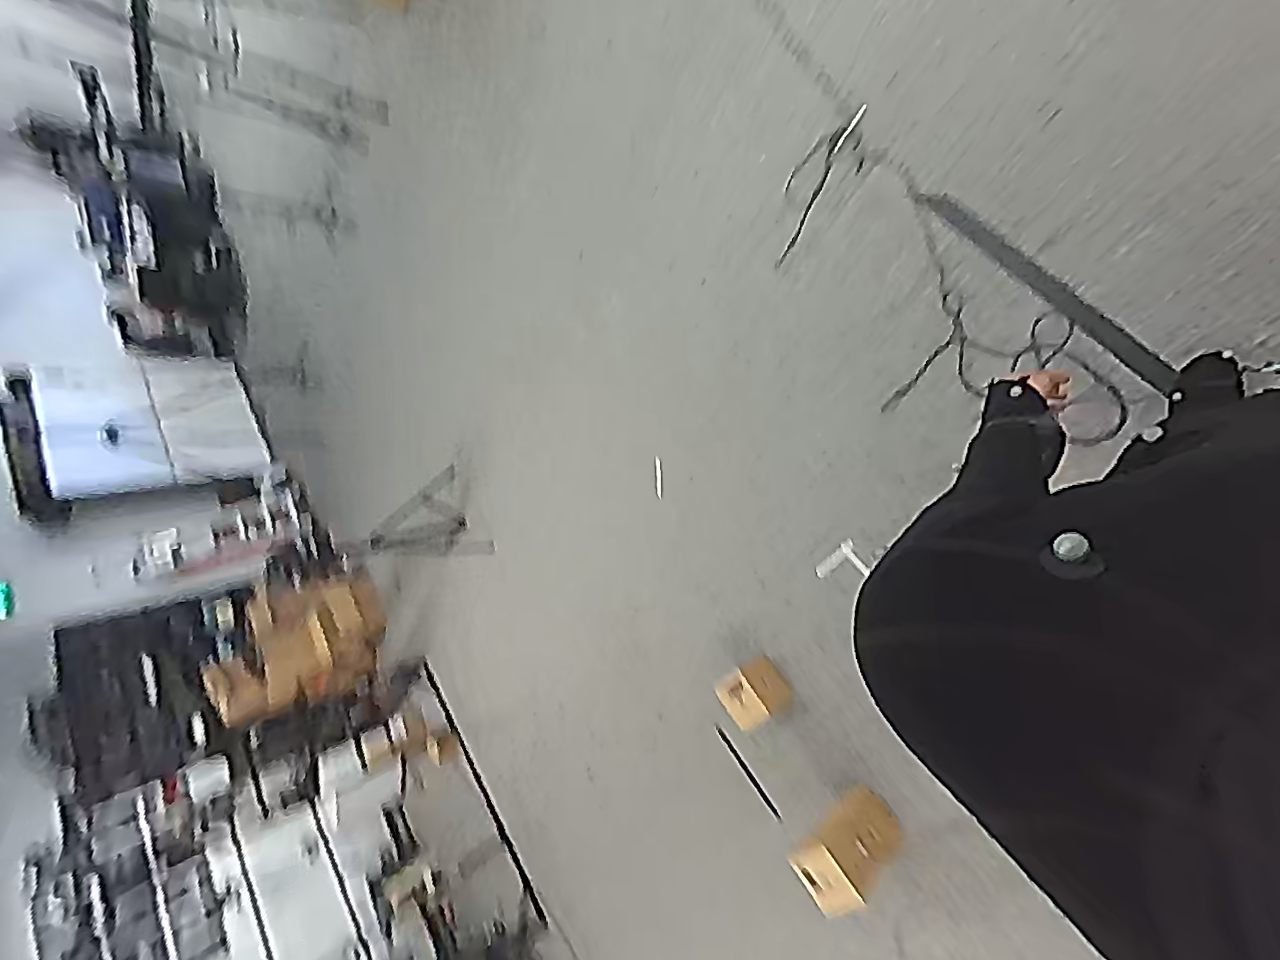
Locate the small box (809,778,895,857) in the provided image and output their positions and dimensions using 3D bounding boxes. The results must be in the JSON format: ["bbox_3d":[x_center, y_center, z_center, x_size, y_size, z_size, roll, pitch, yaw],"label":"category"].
[{"bbox_3d":[0.710,1.132,1.807,0.179,0.176,0.168,52,129,21],"label":"small box"}]

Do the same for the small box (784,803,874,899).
[{"bbox_3d":[0.594,1.157,1.693,0.168,0.176,0.179,53,129,20],"label":"small box"}]
